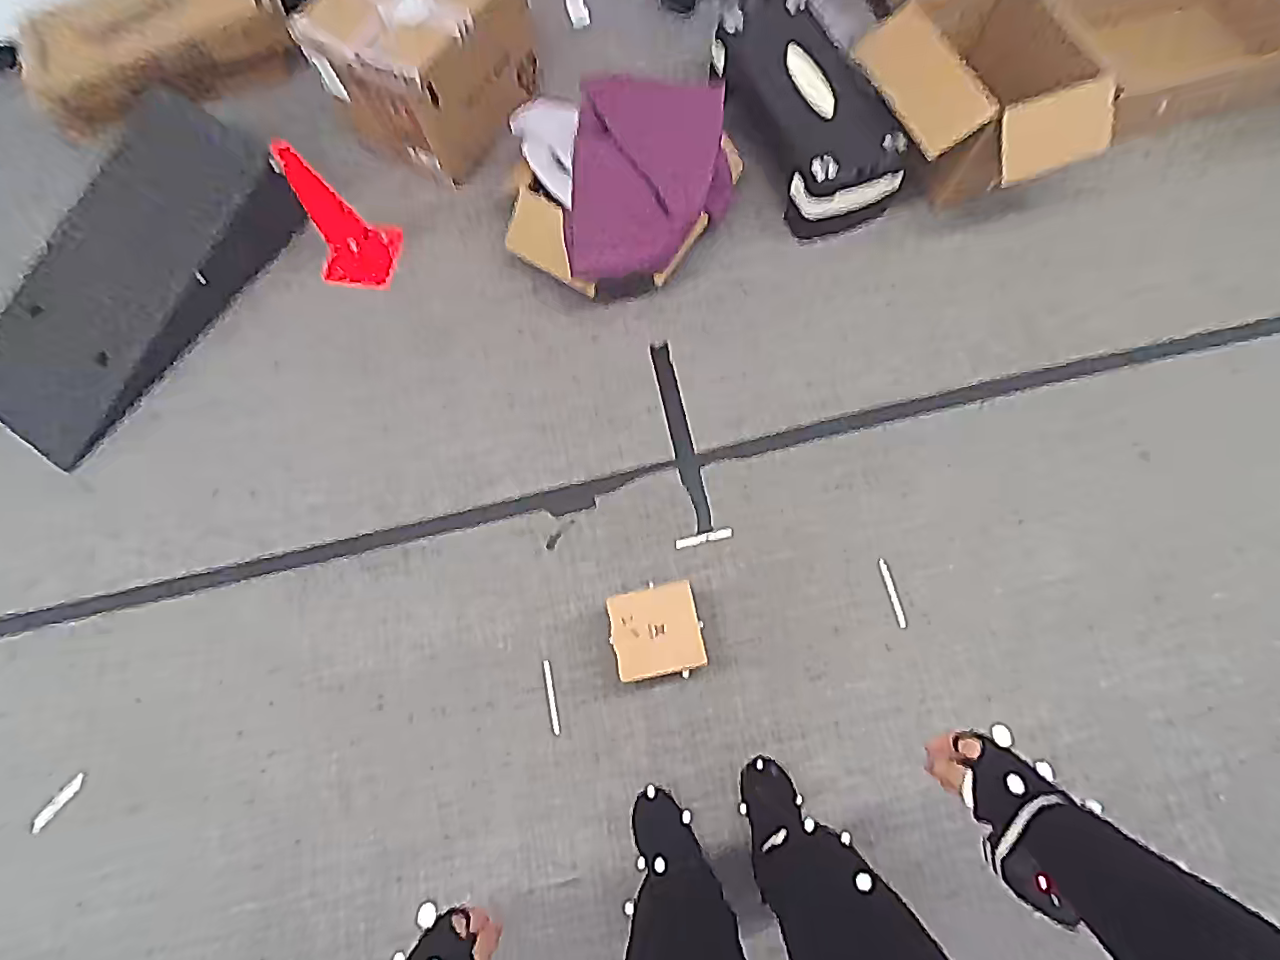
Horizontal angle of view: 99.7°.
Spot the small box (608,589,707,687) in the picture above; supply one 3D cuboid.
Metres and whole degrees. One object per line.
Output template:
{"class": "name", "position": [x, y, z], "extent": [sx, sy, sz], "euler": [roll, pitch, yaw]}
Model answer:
{"class": "small box", "position": [0.035, 0.335, 1.154], "extent": [0.179, 0.176, 0.168], "euler": [-12, 72, -1]}
